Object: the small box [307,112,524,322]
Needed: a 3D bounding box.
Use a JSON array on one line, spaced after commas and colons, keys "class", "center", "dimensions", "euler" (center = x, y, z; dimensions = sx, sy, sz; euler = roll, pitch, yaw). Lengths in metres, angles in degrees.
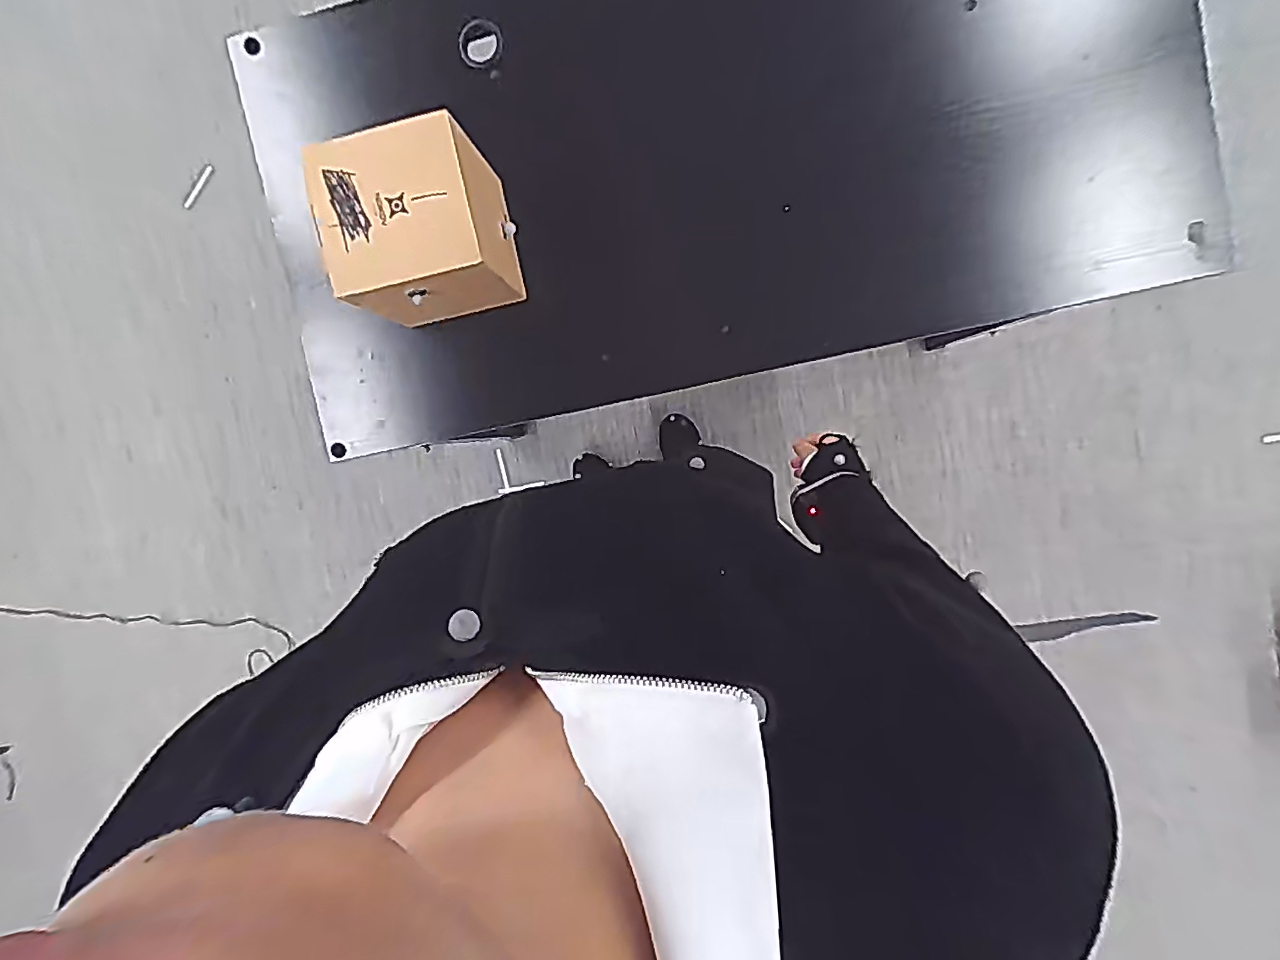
[{"class": "small box", "center": [-0.265, -0.309, 0.677], "dimensions": [0.179, 0.176, 0.168], "euler": [-11, 94, 5]}]
